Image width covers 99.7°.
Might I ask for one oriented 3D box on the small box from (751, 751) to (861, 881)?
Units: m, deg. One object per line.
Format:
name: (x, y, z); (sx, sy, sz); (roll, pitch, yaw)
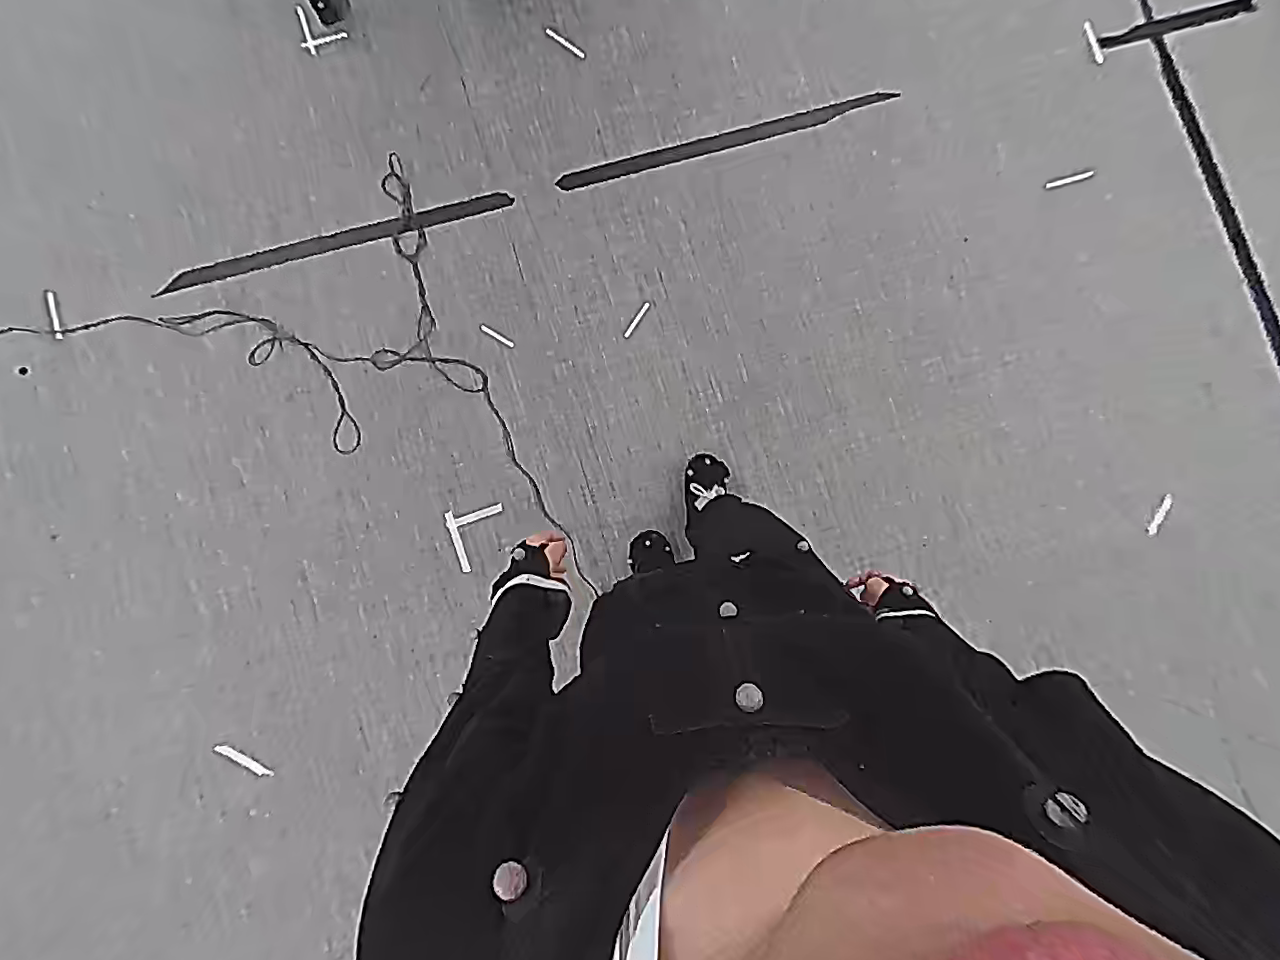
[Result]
small box: (0.361, 0.748, 1.221); (0.179, 0.176, 0.168); (-16, 88, -3)
